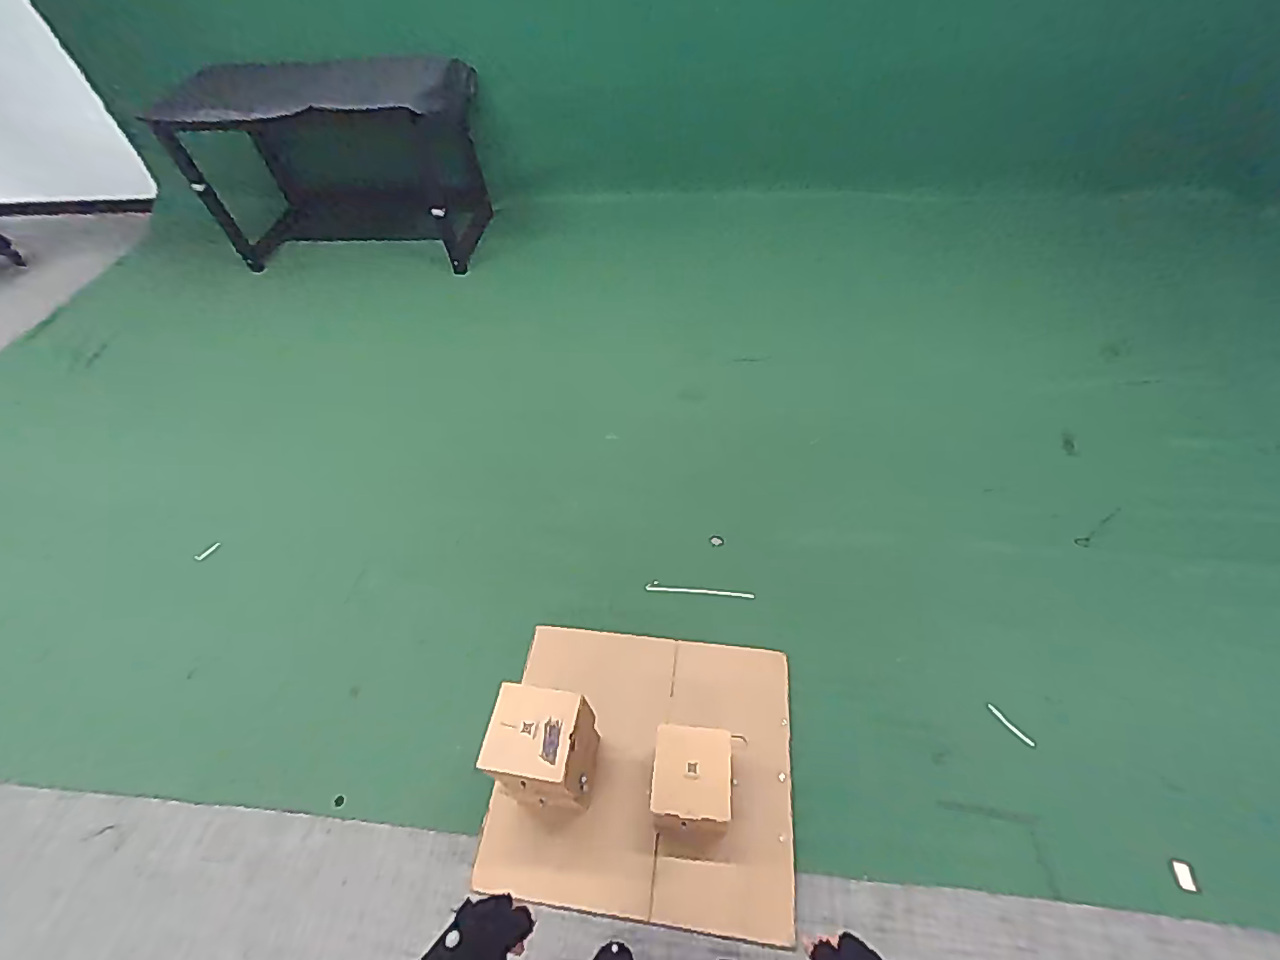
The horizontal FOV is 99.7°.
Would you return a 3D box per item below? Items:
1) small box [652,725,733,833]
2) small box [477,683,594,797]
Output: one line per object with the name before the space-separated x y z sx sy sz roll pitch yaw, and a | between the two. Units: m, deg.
small box | 0.117 0.665 1.202 0.168 0.176 0.179 2 53 7
small box | -0.202 0.539 1.115 0.179 0.176 0.168 5 52 11
